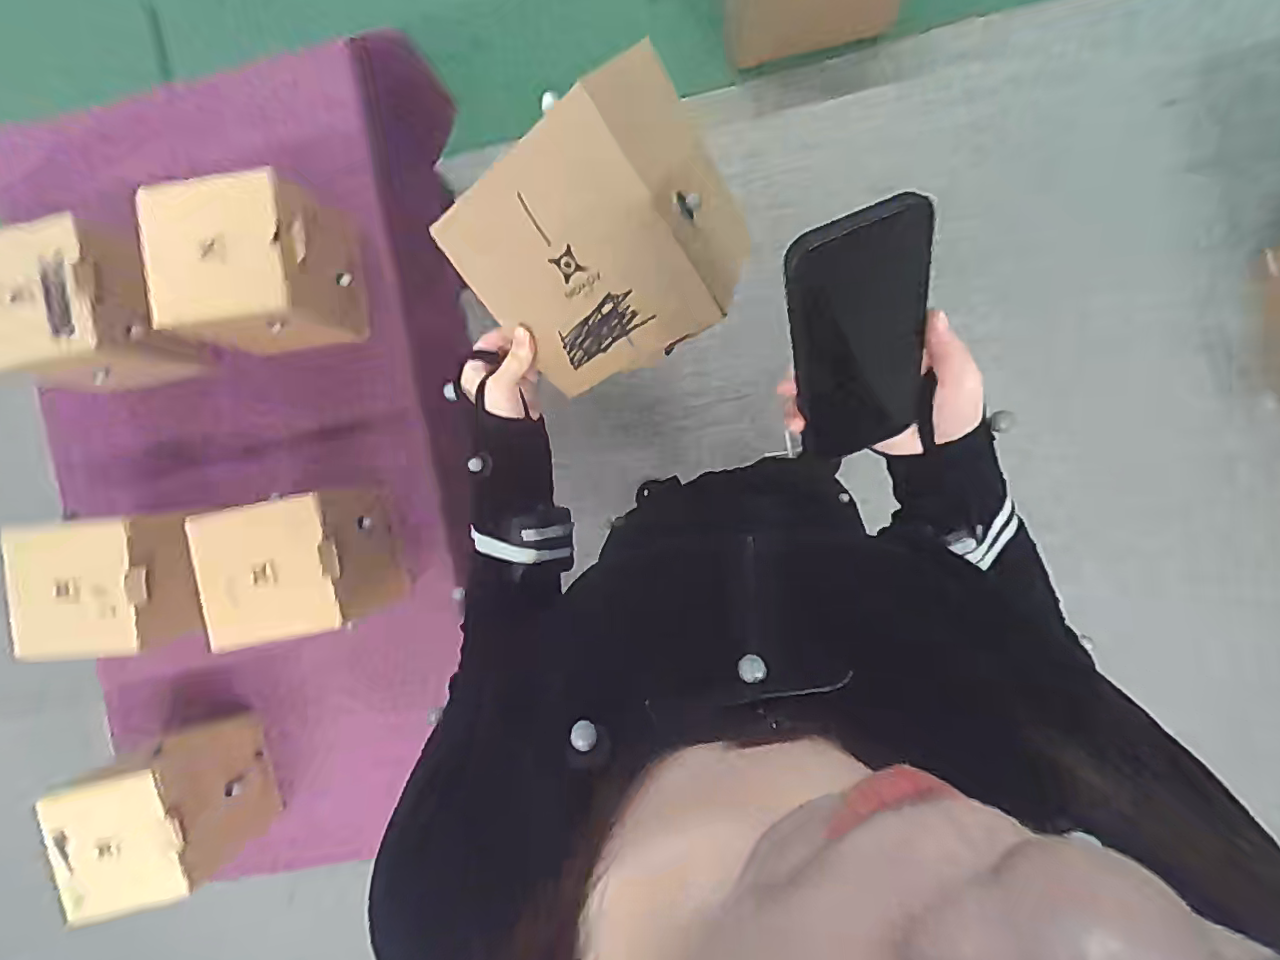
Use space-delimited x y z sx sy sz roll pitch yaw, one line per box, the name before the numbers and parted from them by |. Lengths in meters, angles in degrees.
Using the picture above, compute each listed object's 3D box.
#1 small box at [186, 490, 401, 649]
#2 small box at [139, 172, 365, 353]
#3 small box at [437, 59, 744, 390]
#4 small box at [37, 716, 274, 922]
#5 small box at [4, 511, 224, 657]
small box | -0.449 0.110 0.733 0.179 0.176 0.168 -11 90 6
small box | -0.506 -0.276 0.726 0.179 0.176 0.168 -6 91 5
small box | -0.026 -0.215 0.466 0.168 0.176 0.179 -19 124 34
small box | -0.656 0.459 0.760 0.179 0.176 0.168 -16 90 4
small box | -0.703 0.136 0.754 0.179 0.176 0.168 -4 92 5
